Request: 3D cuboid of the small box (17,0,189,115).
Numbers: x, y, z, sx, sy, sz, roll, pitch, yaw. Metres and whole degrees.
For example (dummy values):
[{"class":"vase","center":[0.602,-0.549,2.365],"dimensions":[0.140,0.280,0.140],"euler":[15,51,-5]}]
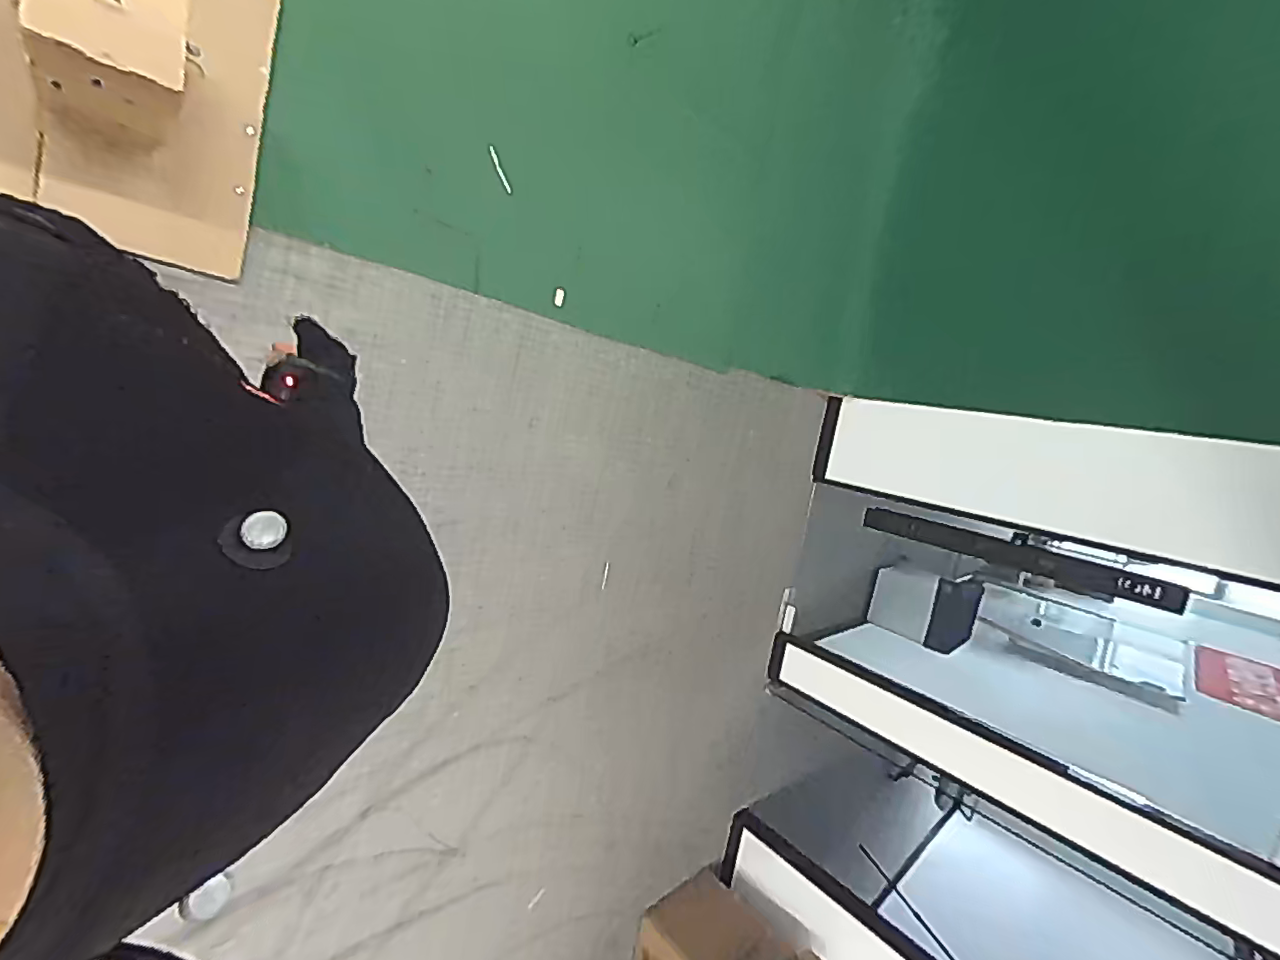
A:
[{"class":"small box","center":[-0.778,-0.682,0.792],"dimensions":[0.168,0.176,0.179],"euler":[3,101,-44]}]
